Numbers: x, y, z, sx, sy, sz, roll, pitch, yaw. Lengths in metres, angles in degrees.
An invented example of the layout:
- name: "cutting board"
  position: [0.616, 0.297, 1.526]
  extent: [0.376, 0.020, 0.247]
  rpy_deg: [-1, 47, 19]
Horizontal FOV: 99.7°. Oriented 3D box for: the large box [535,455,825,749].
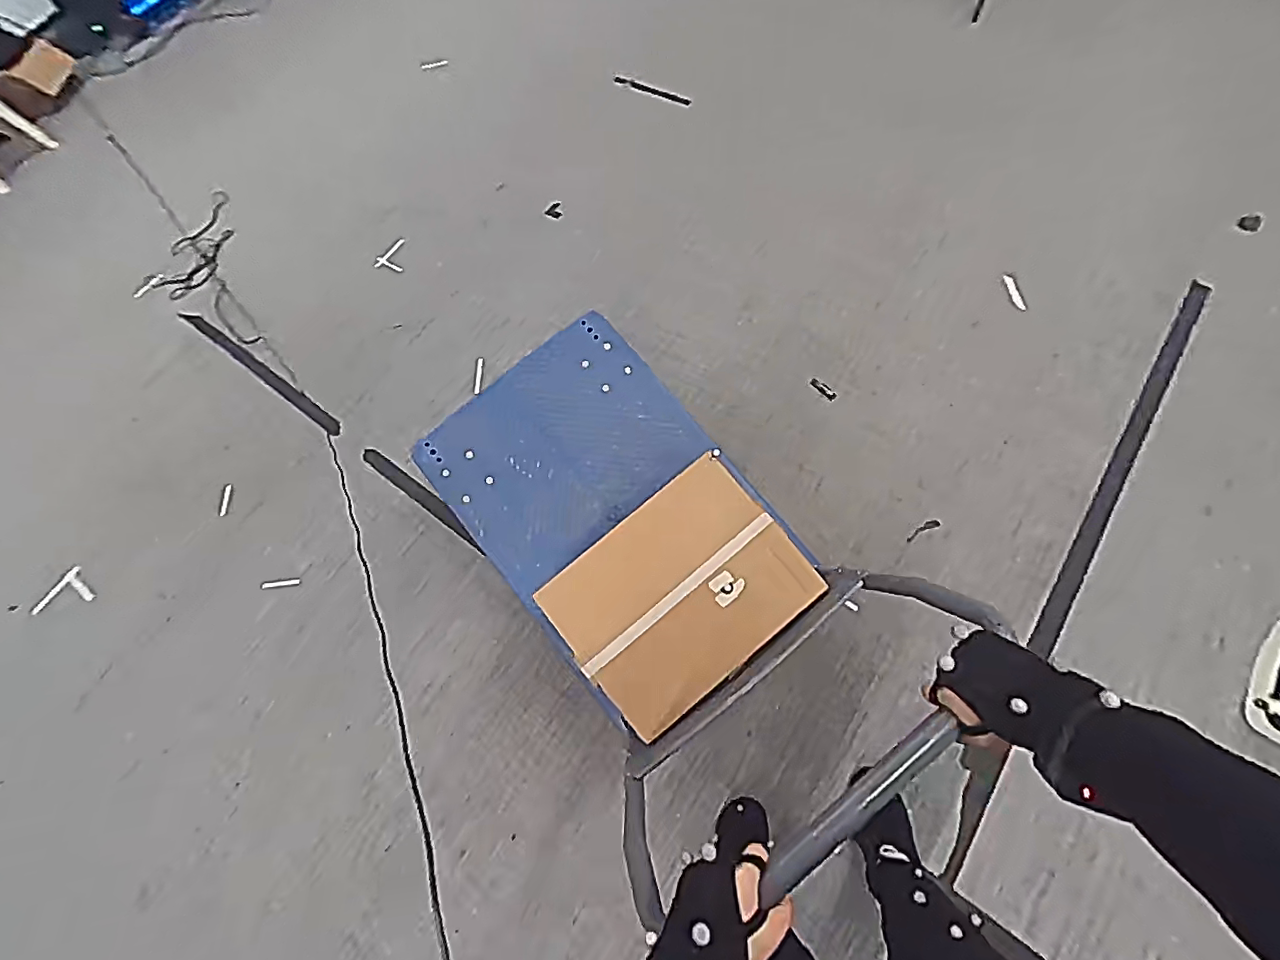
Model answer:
- name: "large box"
  position: [0.069, 0.223, 1.051]
  extent: [0.408, 0.320, 0.320]
  rpy_deg: [-40, 82, -6]
